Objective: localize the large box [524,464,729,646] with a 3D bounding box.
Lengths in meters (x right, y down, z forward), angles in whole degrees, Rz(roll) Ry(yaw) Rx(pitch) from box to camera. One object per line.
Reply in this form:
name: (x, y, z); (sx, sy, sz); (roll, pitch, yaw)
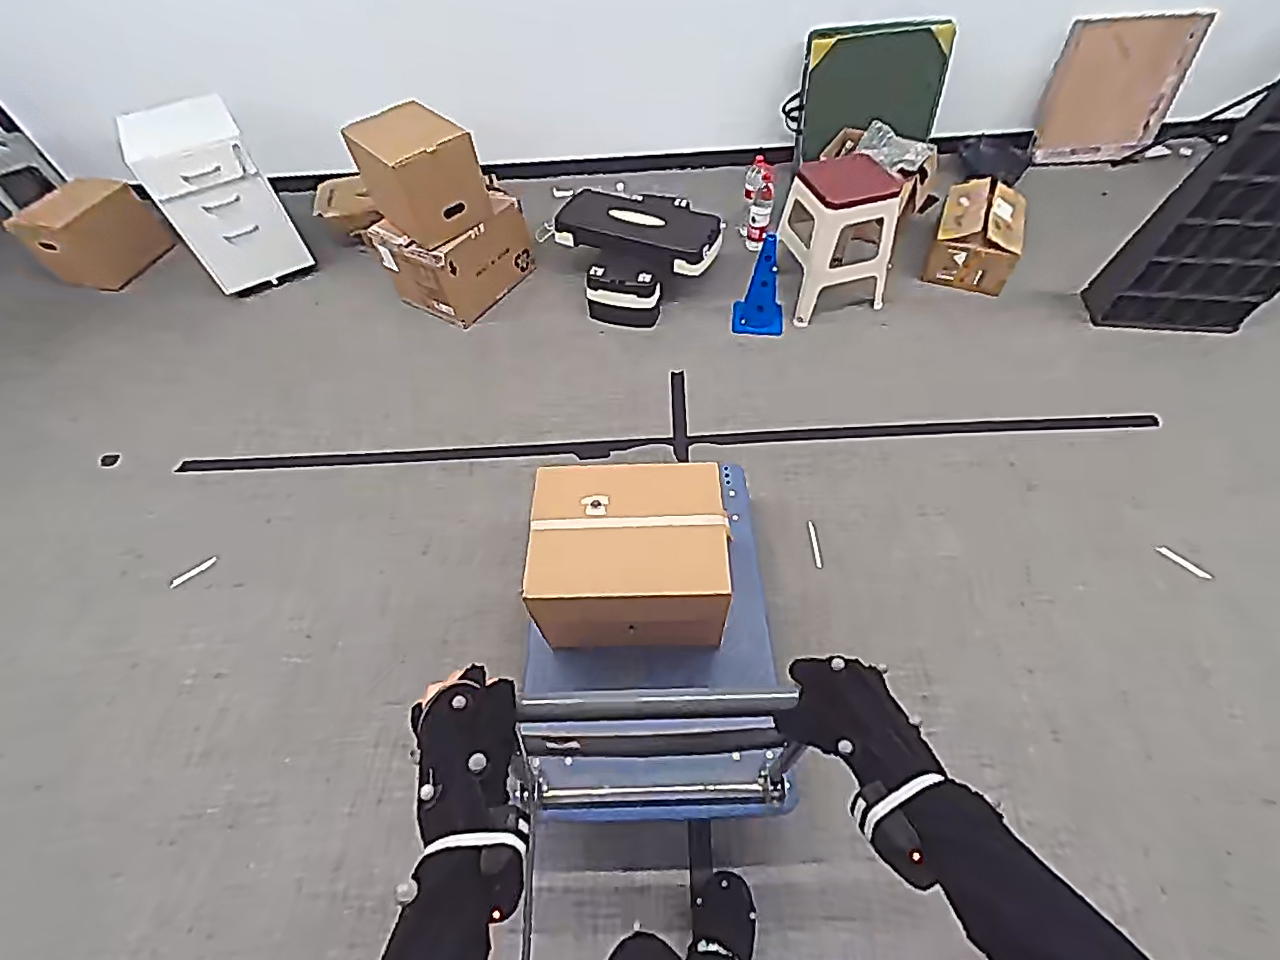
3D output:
large box: (-0.020, 0.183, 1.245); (0.408, 0.320, 0.320); (-2, 55, 2)
